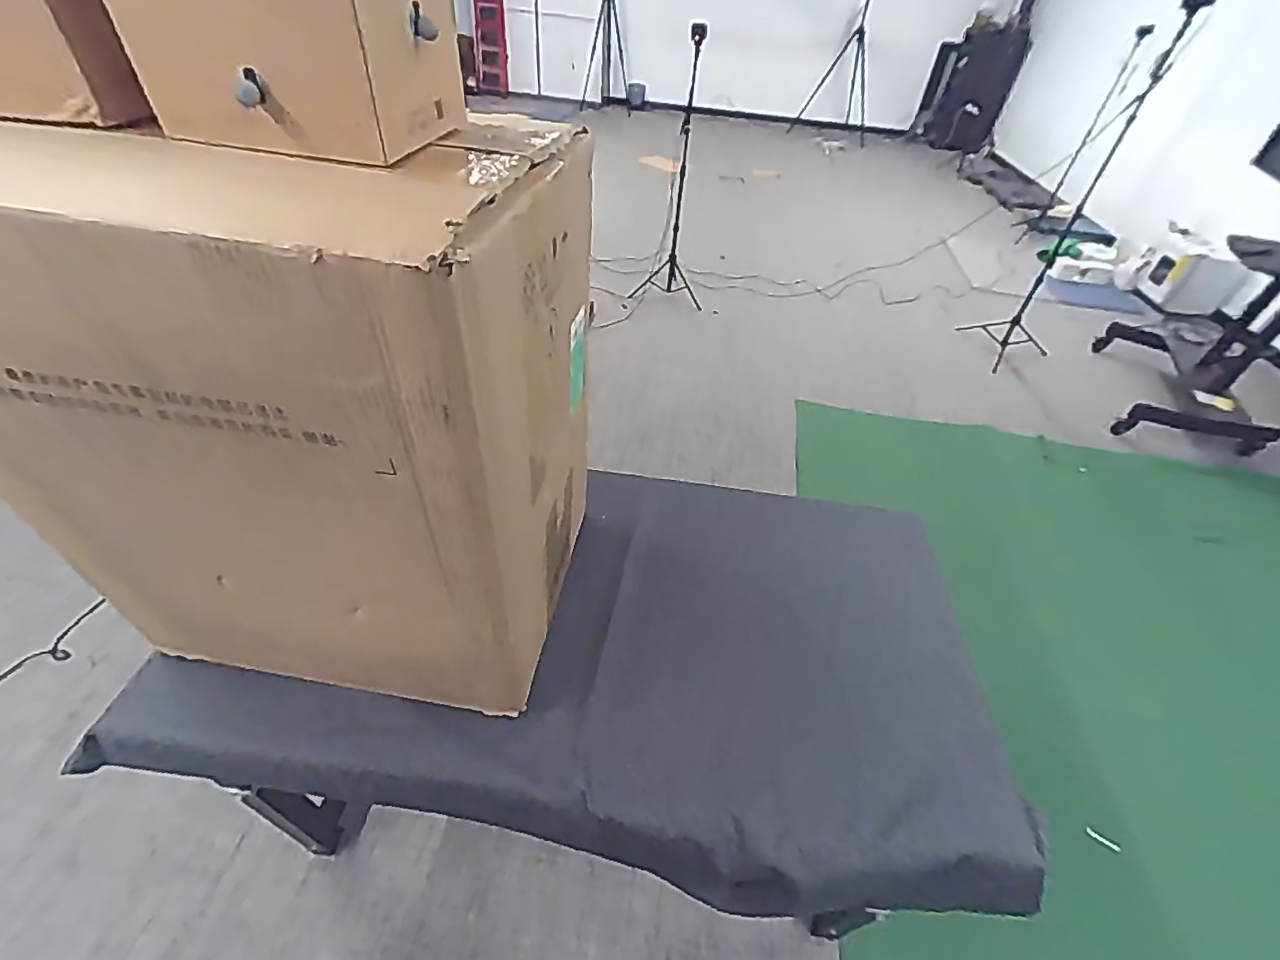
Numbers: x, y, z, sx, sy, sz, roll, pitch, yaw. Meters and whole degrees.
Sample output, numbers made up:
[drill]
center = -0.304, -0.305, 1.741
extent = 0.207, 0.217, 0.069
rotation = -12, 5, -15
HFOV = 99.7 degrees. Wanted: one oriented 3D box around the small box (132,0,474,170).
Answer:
[small box]
center = -0.242, -0.353, 0.413
extent = 0.179, 0.176, 0.168
rotation = 8, 43, 2
